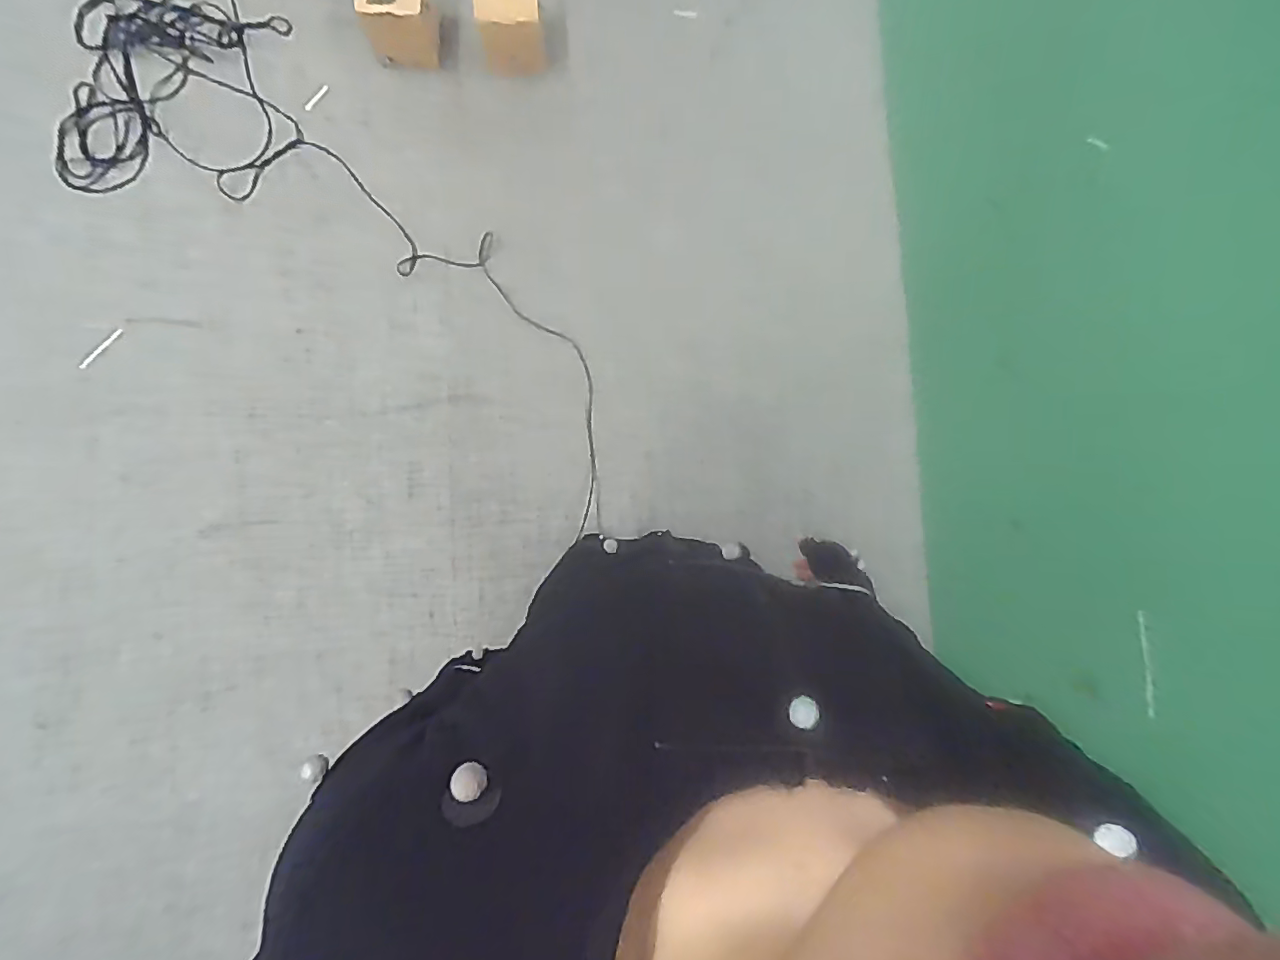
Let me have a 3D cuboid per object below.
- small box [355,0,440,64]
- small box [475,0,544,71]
[{"bbox_3d":[-0.646,-1.271,1.458,0.168,0.176,0.179,0,85,-5],"label":"small box"},{"bbox_3d":[-0.357,-1.276,1.486,0.168,0.176,0.179,-5,87,-5],"label":"small box"}]
